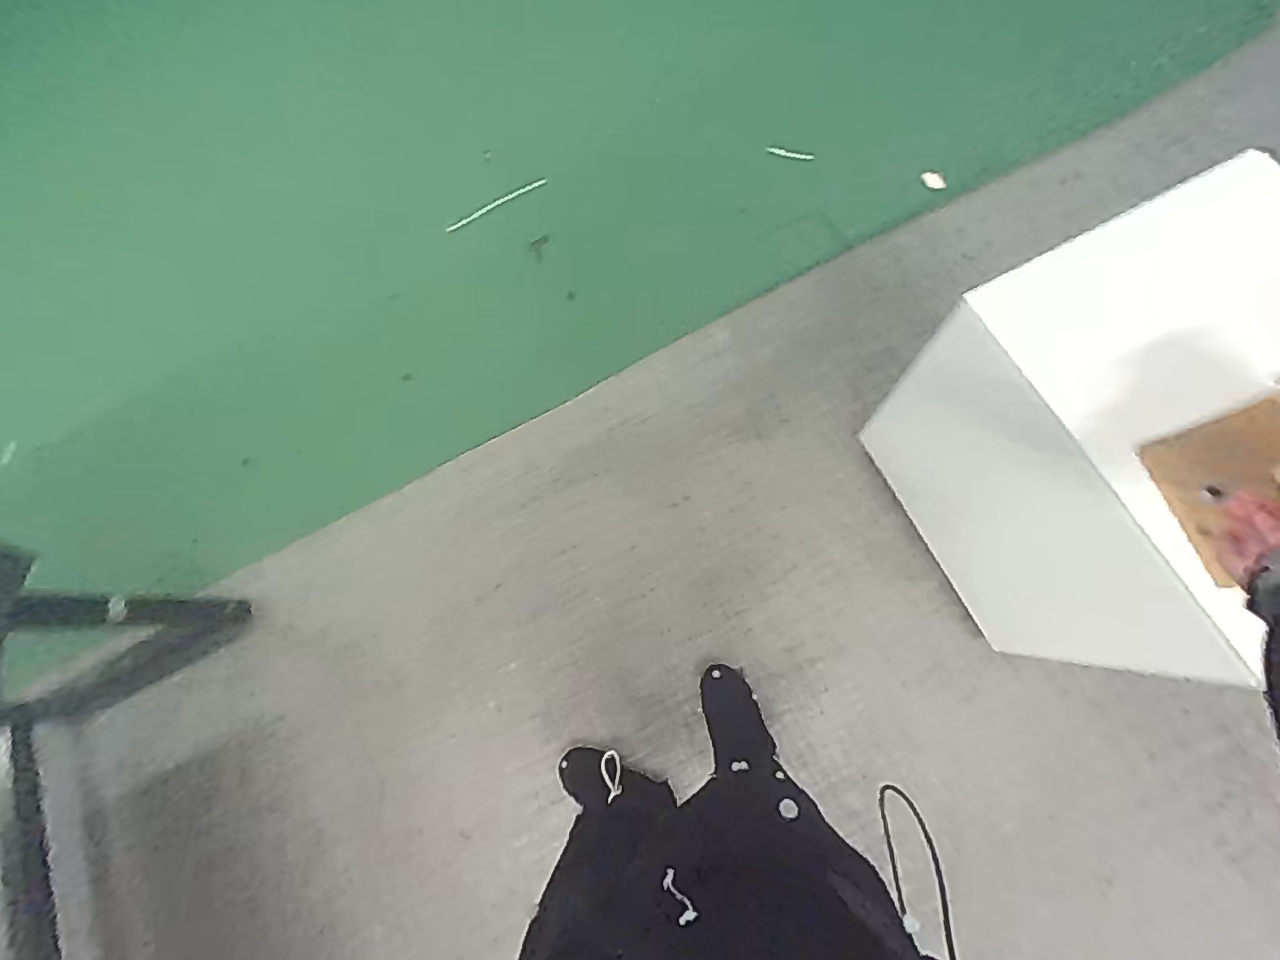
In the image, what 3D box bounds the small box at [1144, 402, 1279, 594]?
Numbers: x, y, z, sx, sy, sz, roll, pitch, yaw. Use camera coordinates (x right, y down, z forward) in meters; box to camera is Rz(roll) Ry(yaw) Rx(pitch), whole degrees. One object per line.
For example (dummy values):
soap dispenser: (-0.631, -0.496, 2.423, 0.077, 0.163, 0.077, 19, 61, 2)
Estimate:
small box: (0.643, 0.000, 0.495, 0.179, 0.176, 0.168, -19, 75, 4)
